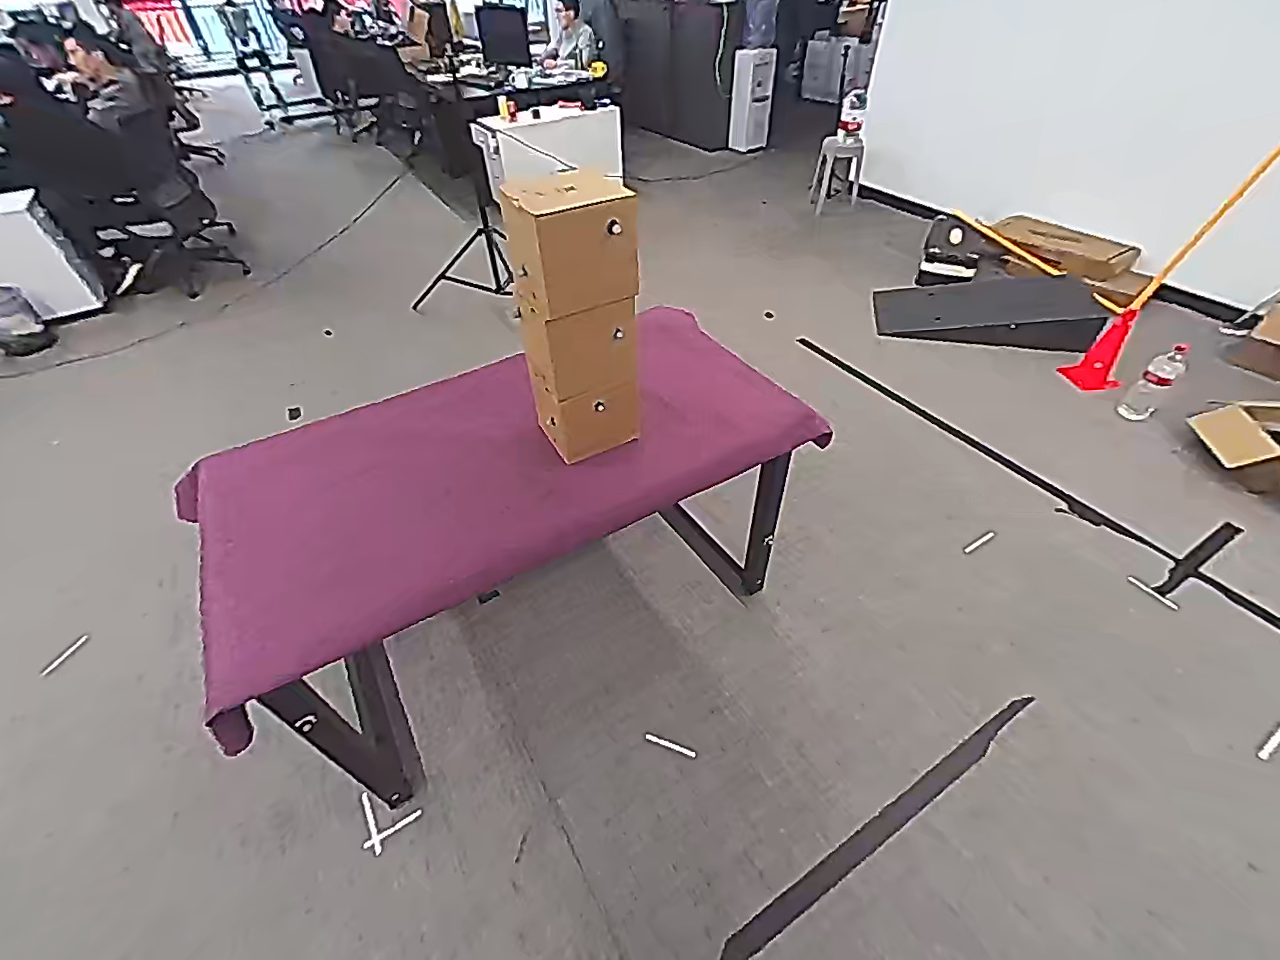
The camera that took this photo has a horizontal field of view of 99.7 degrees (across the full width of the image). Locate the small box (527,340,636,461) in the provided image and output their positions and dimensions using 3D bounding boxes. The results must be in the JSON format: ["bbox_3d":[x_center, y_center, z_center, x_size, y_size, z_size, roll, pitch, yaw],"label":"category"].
[{"bbox_3d":[-0.117,-0.167,1.149,0.179,0.176,0.168,-23,49,-20],"label":"small box"}]

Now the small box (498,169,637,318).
[{"bbox_3d":[-0.118,-0.402,0.918,0.179,0.176,0.168,-24,48,-19],"label":"small box"}]
